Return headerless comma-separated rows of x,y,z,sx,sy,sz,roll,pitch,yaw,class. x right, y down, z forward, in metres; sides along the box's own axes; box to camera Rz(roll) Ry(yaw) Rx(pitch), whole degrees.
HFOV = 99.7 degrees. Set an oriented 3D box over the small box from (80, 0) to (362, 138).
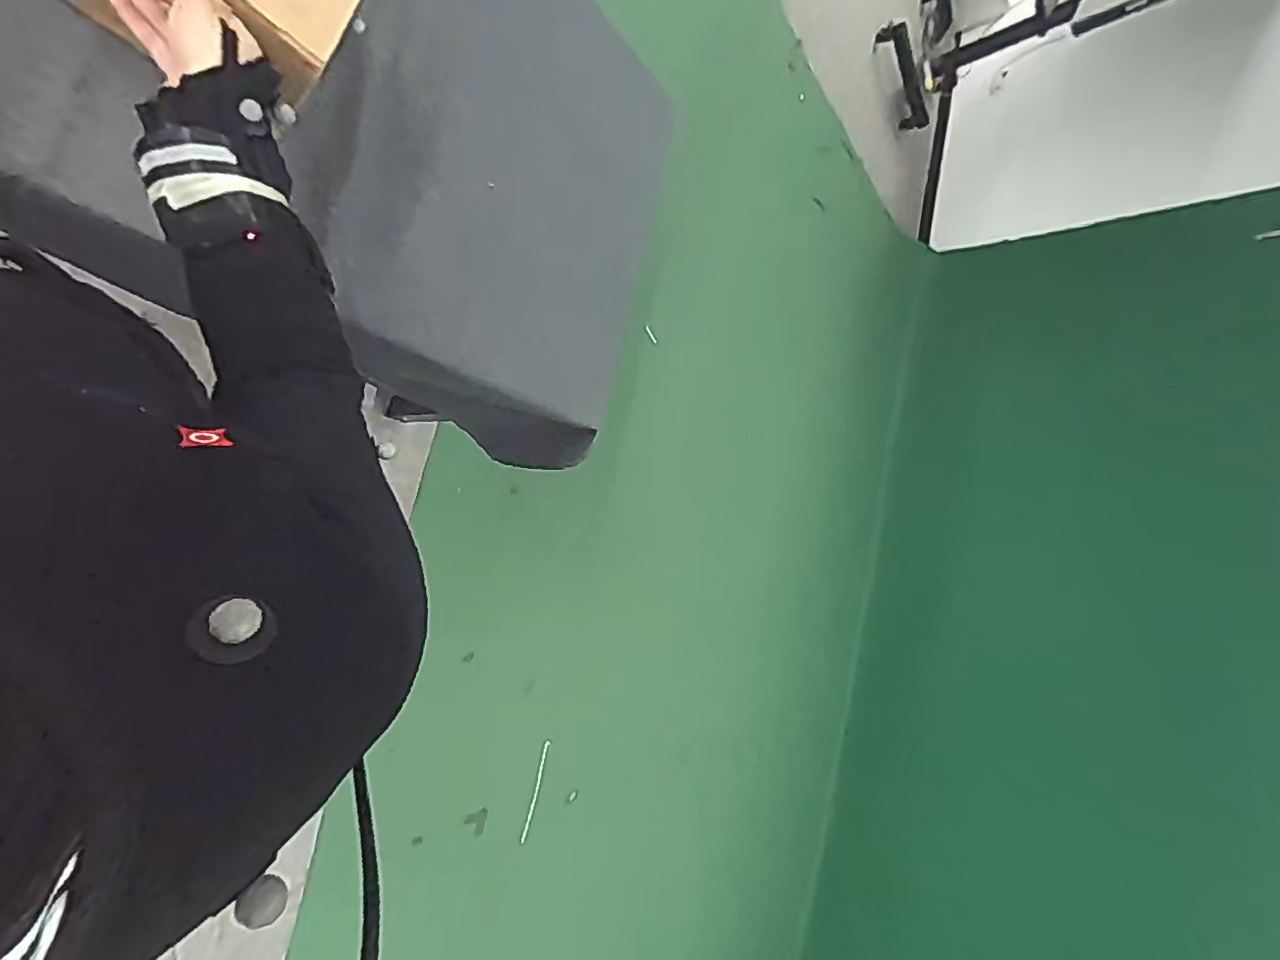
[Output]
-0.339,-0.434,0.449,0.168,0.176,0.179,28,73,-45,small box
